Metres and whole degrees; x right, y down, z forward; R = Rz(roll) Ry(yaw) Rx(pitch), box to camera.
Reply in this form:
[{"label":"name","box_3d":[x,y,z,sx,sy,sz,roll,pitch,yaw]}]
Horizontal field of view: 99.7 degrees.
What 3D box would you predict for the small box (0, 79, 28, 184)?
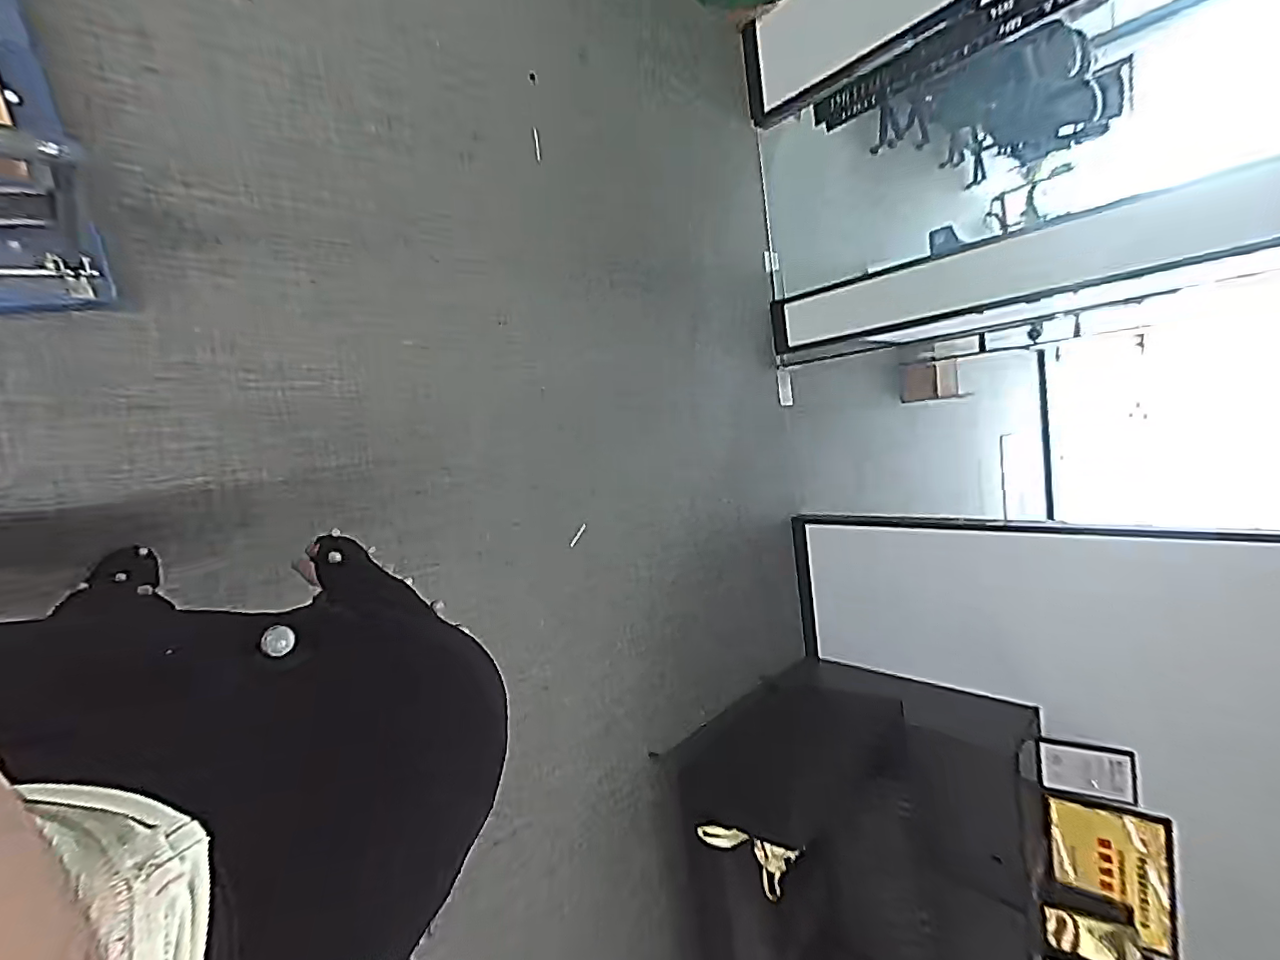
[{"label":"small box","box_3d":[-1.110,-0.597,0.845,0.168,0.176,0.179,-19,103,-43]}]
